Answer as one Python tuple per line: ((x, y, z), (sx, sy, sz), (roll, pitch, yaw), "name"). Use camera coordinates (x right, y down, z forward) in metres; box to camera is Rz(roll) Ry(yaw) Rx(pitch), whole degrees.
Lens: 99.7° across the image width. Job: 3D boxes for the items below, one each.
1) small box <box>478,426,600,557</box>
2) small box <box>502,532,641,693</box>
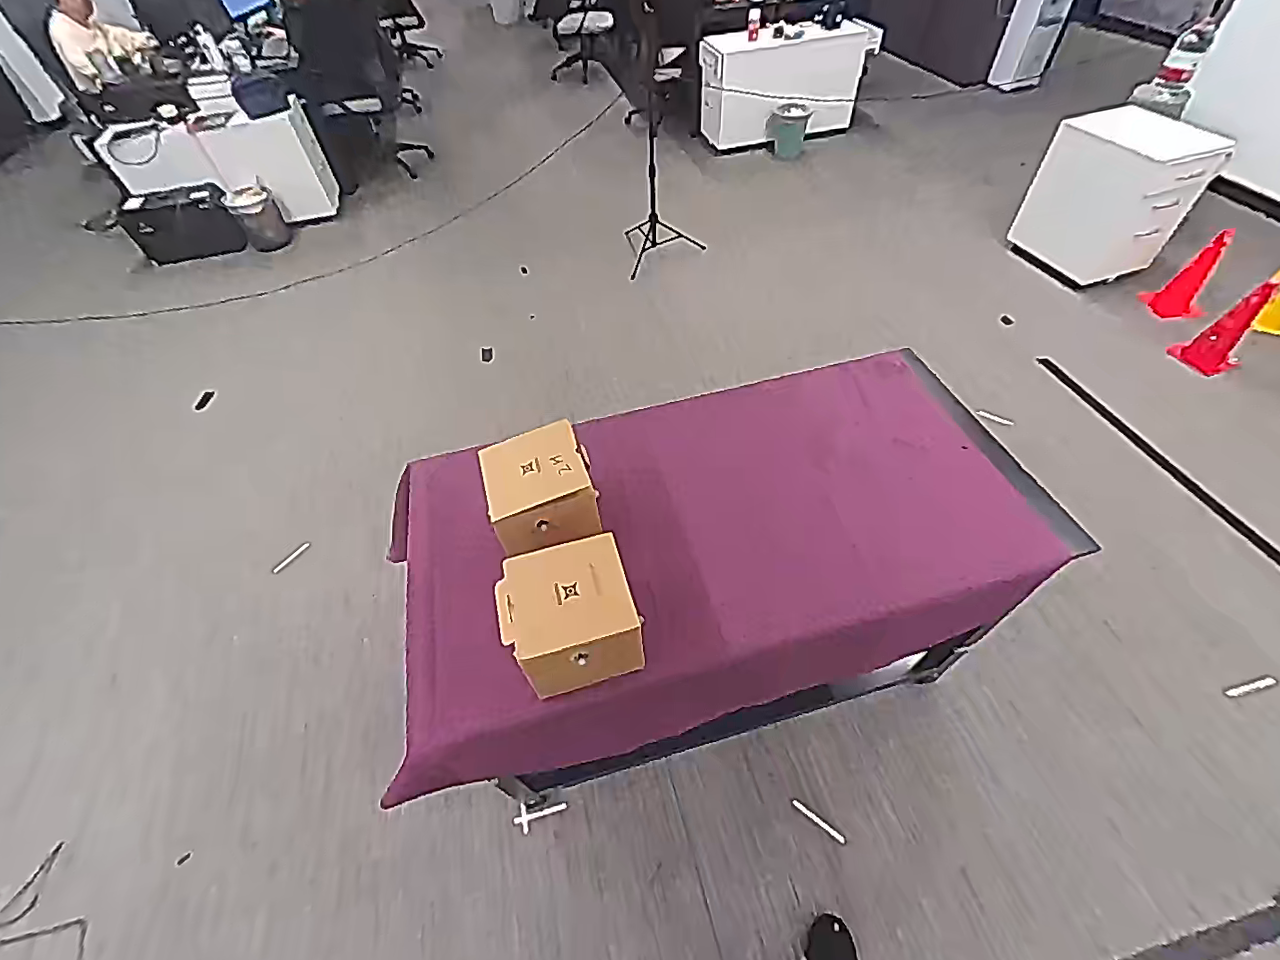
((-0.180, 0.033, 0.989), (0.179, 0.176, 0.168), (-15, 53, -9), "small box")
((-0.103, 0.211, 0.844), (0.179, 0.176, 0.168), (-14, 52, -8), "small box")
